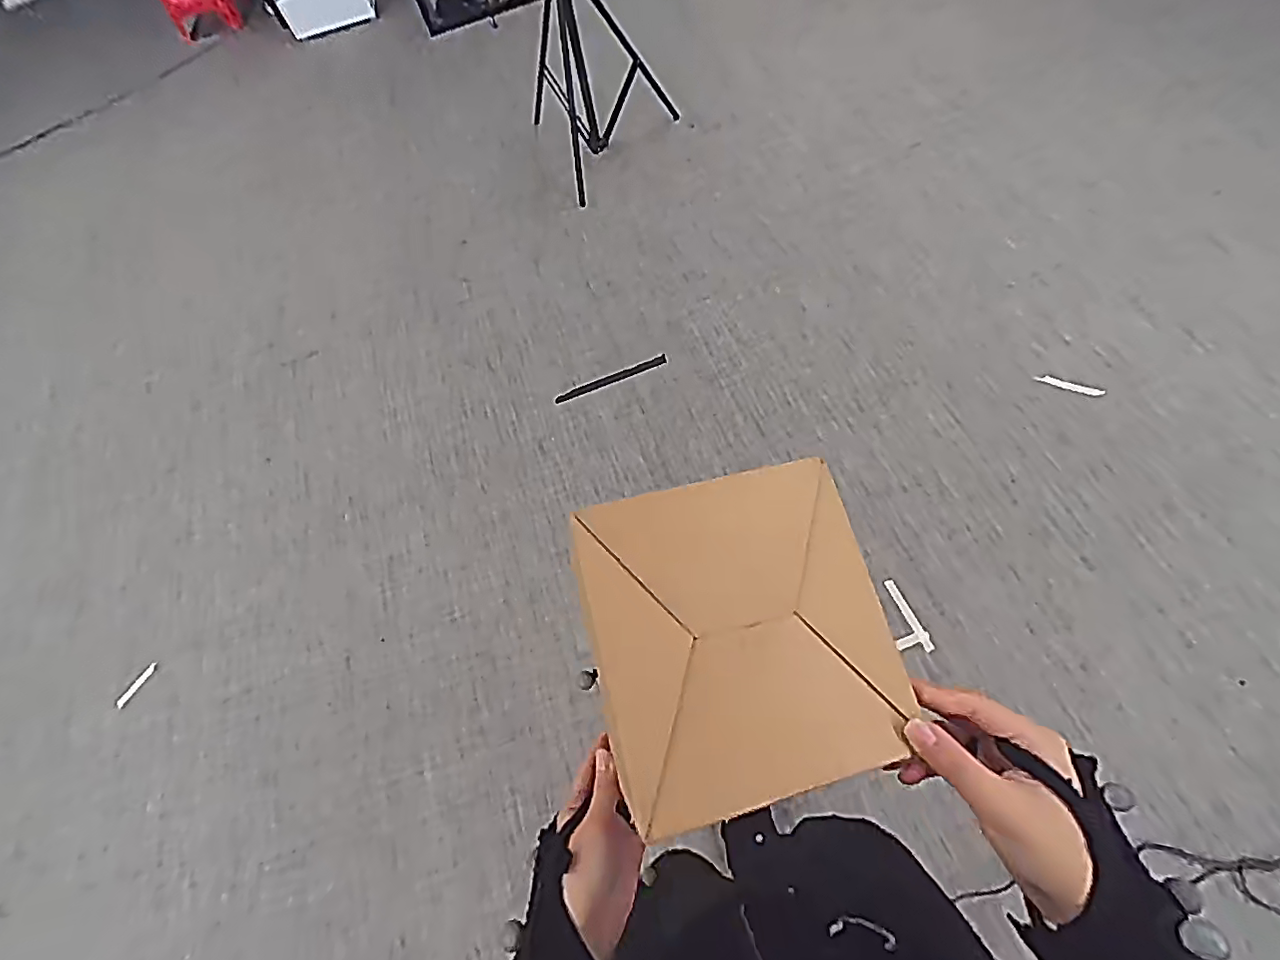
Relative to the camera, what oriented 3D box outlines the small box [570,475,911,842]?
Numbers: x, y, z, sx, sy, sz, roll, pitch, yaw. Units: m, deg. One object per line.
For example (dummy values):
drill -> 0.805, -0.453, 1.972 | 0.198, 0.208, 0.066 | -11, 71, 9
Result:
small box -> 0.051, 0.111, 0.379 | 0.168, 0.176, 0.179 | -12, 73, -11
